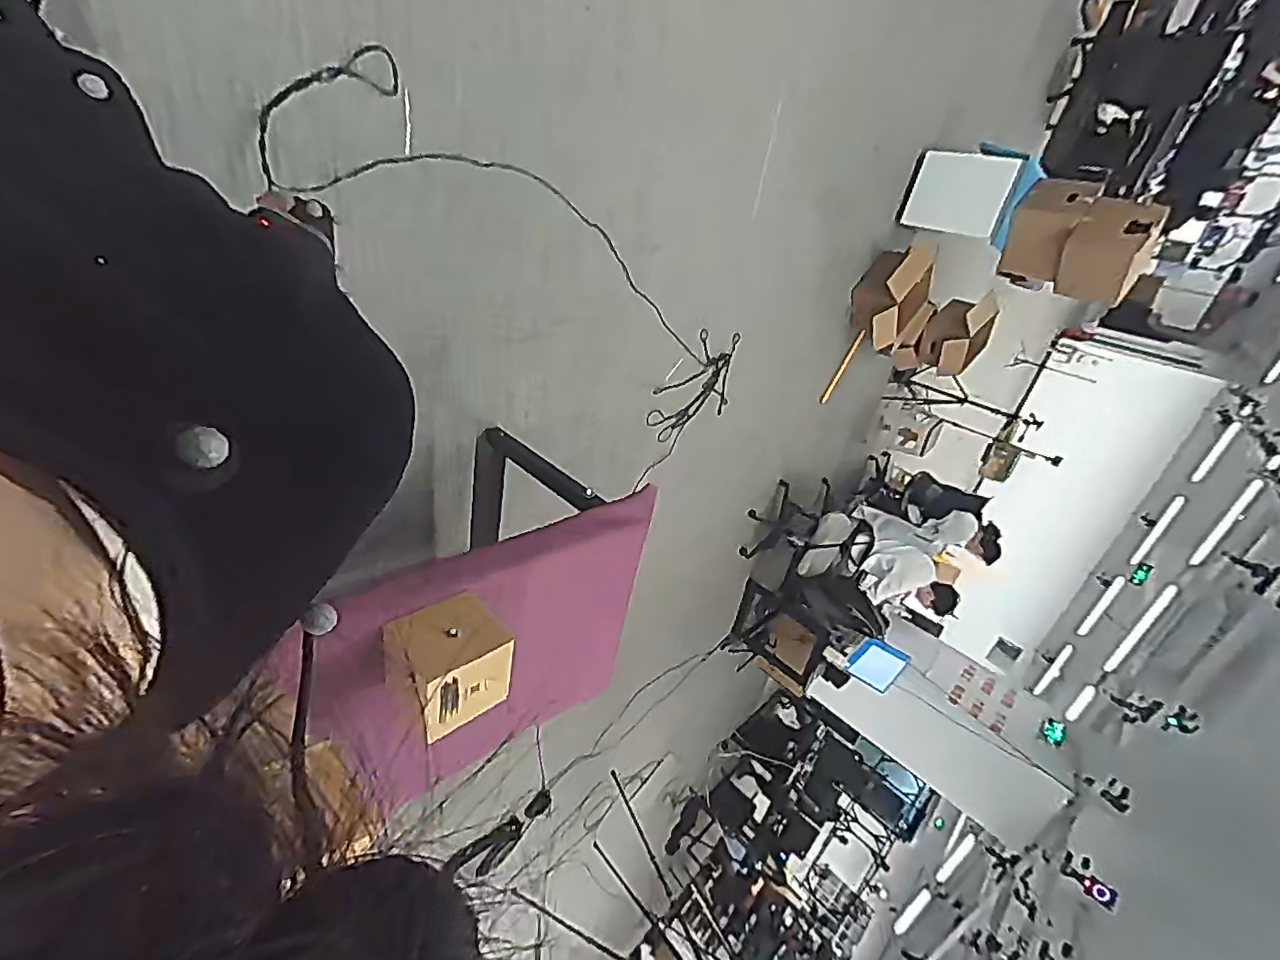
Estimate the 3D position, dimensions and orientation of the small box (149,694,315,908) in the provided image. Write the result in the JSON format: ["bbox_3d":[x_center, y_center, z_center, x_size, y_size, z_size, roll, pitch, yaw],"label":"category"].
[{"bbox_3d":[-0.599,0.464,0.806,0.179,0.176,0.168,-17,129,-44],"label":"small box"}]

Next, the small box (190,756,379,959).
[{"bbox_3d":[-0.472,0.515,0.715,0.168,0.176,0.179,-8,121,-49],"label":"small box"}]
